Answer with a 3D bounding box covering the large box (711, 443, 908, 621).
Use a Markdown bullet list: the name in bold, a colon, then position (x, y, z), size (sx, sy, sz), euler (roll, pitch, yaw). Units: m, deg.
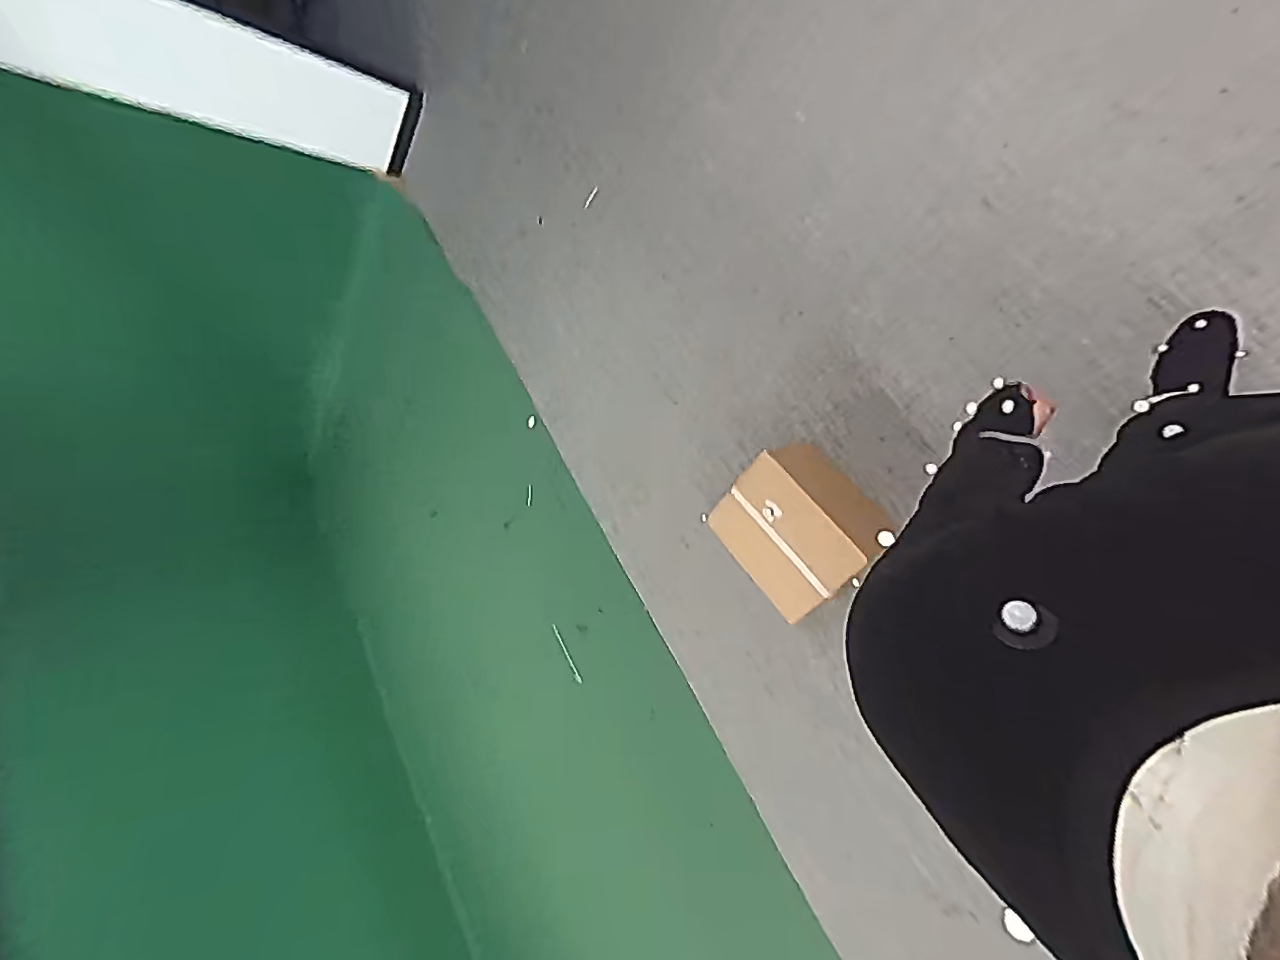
- **large box**: position (0.503, 0.140, 1.626), size (0.408, 0.320, 0.320), euler (52, 127, 24)
